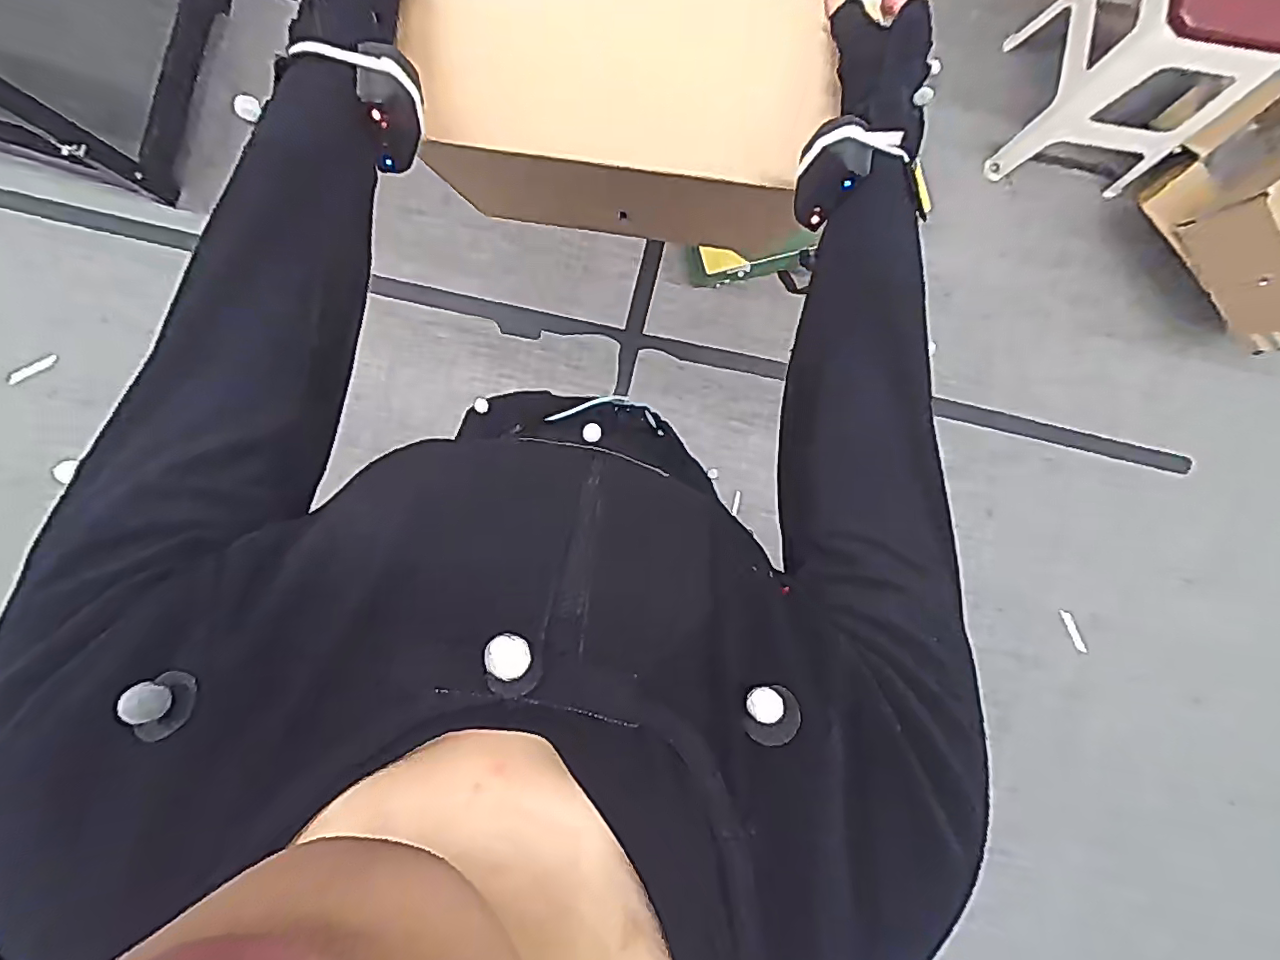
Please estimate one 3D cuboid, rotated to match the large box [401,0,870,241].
[{"bbox_3d":[0.001,-0.470,0.597,0.408,0.320,0.320,6,103,-2],"label":"large box"}]
